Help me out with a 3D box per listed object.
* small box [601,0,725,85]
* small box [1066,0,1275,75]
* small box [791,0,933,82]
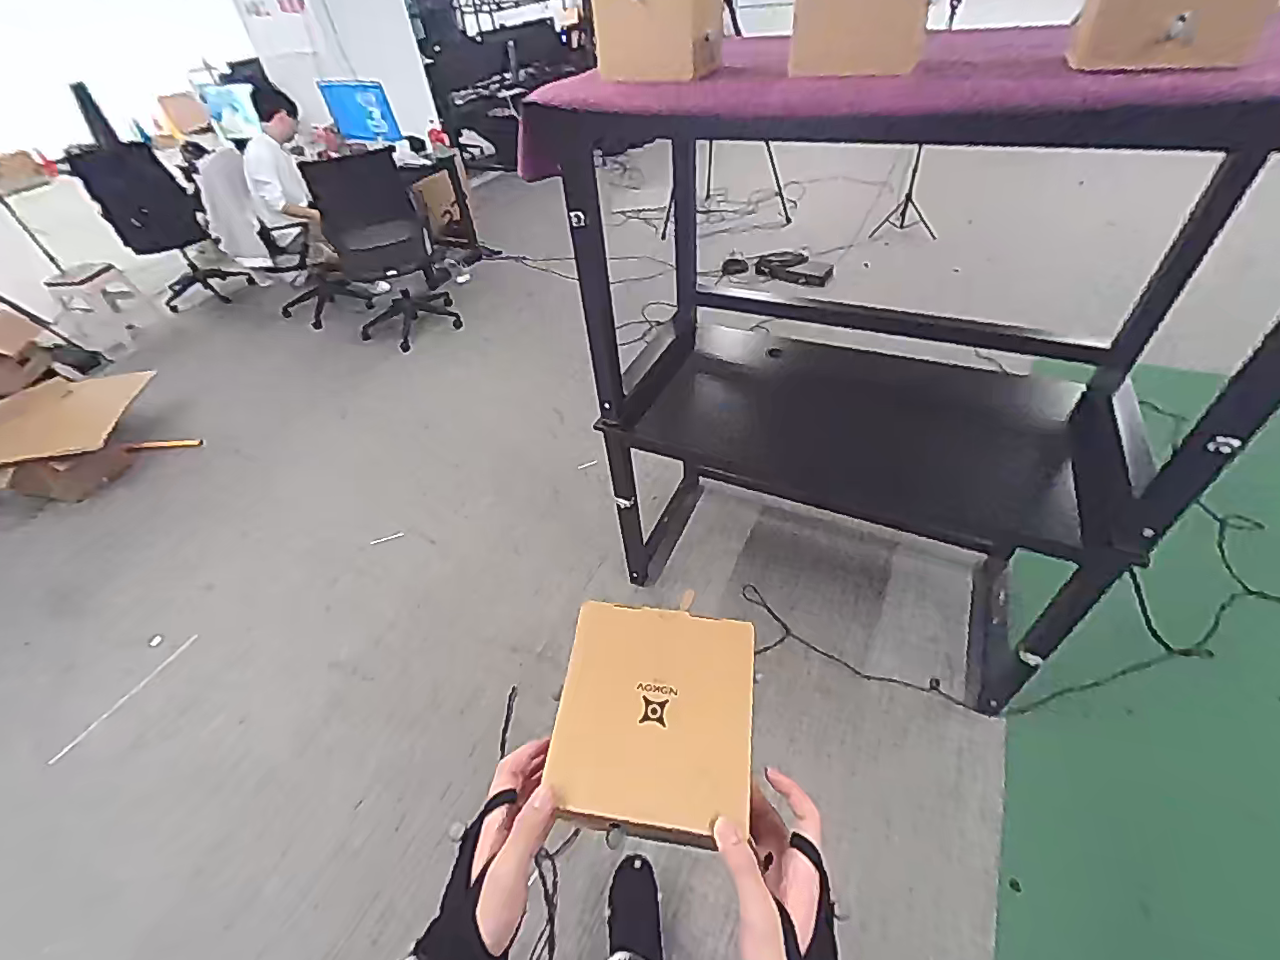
[{"bbox_3d":[0.039,-0.793,0.928,0.179,0.176,0.168,14,47,19],"label":"small box"},{"bbox_3d":[0.670,-0.619,0.670,0.179,0.176,0.168,16,46,22],"label":"small box"},{"bbox_3d":[0.340,-0.717,0.812,0.179,0.176,0.168,16,47,22],"label":"small box"}]
